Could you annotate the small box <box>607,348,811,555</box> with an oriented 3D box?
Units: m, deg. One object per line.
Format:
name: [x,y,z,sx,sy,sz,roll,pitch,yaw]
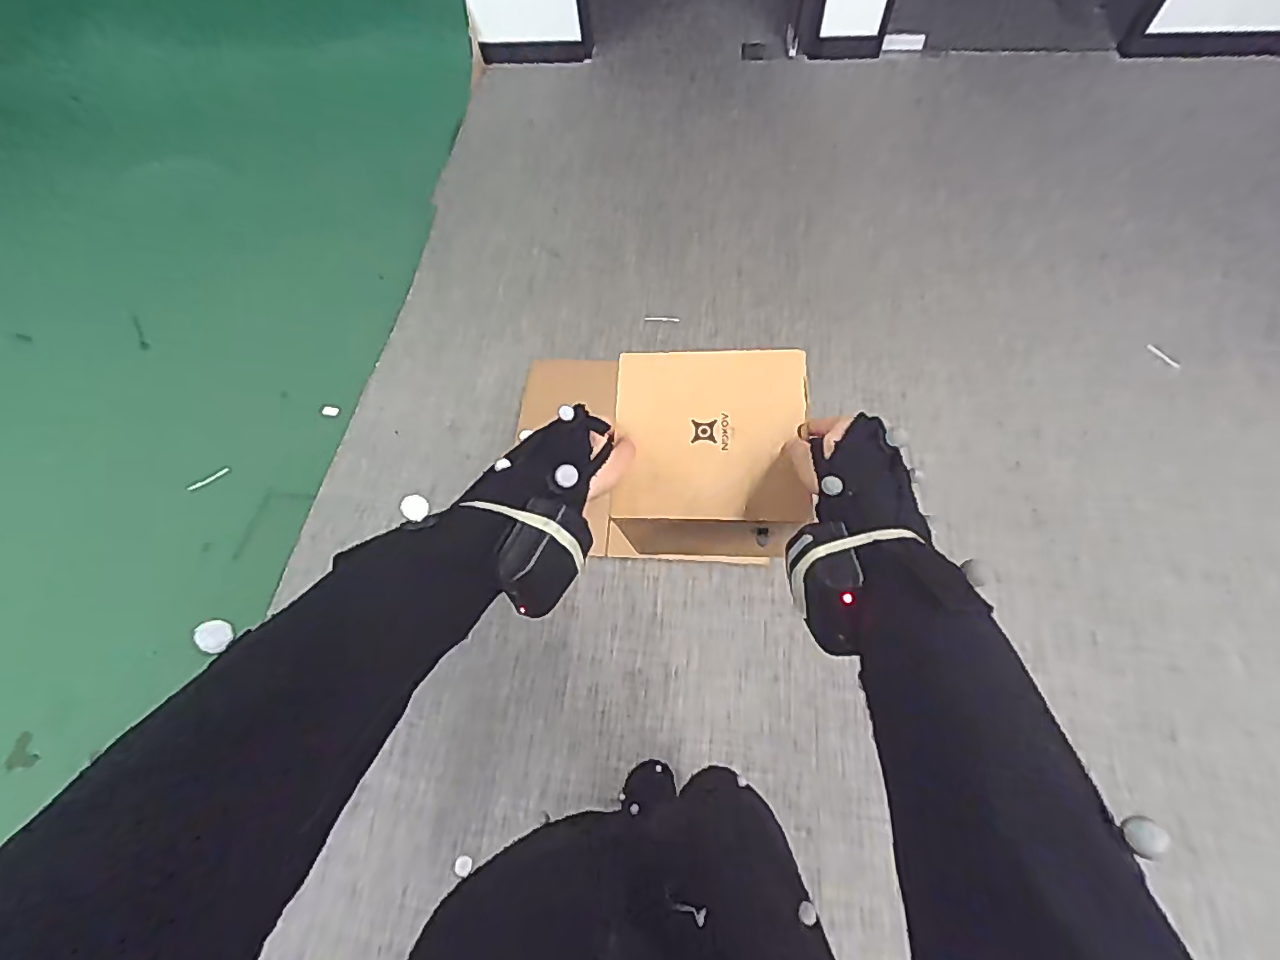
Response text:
small box: [0.072,-0.019,0.560,0.179,0.176,0.168,0,71,8]
